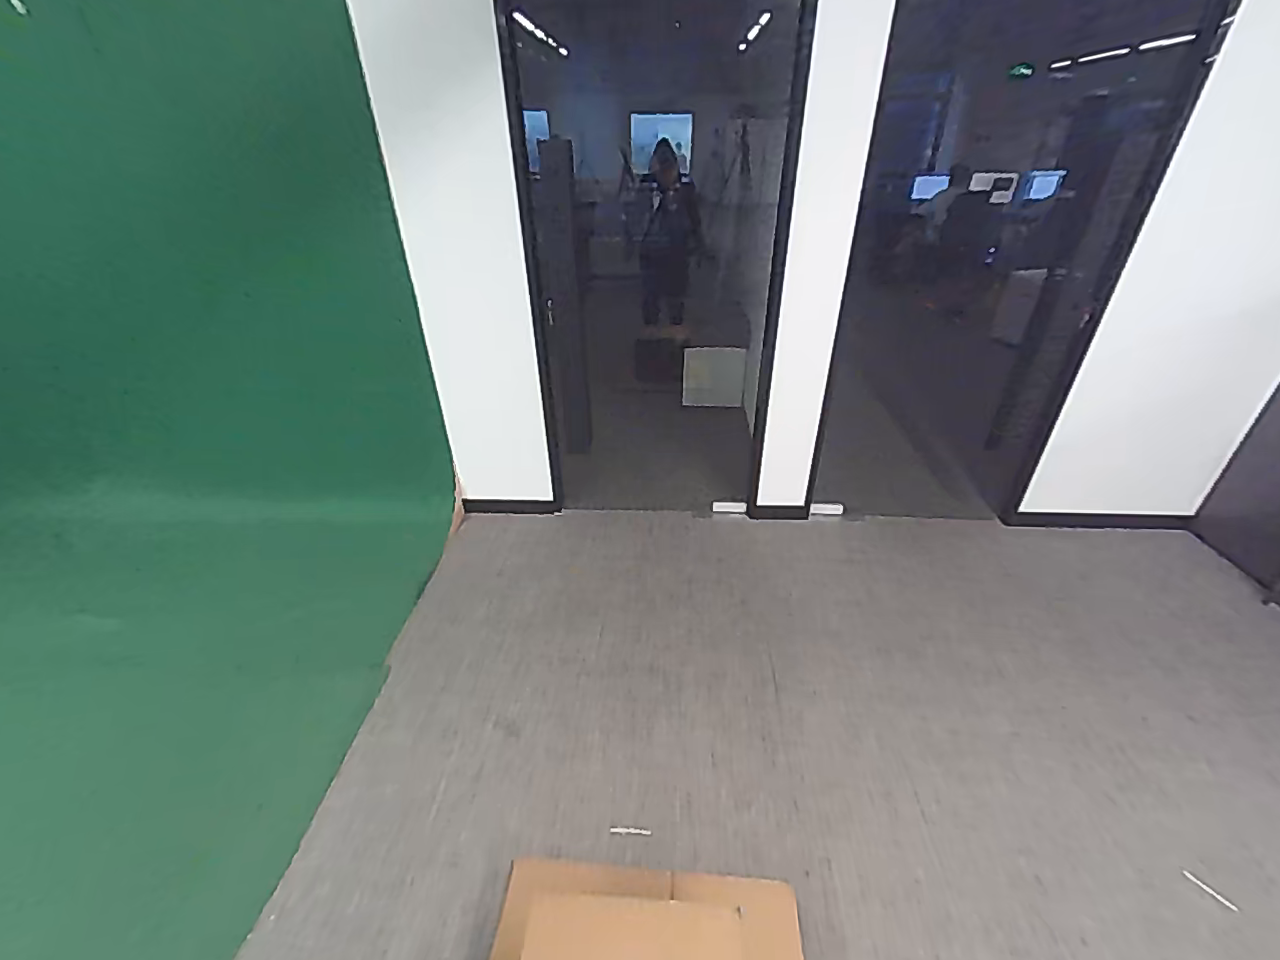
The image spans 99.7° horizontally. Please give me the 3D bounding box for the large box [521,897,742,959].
[{"bbox_3d":[-0.022,1.022,0.990,0.408,0.320,0.320,2,32,2],"label":"large box"}]
